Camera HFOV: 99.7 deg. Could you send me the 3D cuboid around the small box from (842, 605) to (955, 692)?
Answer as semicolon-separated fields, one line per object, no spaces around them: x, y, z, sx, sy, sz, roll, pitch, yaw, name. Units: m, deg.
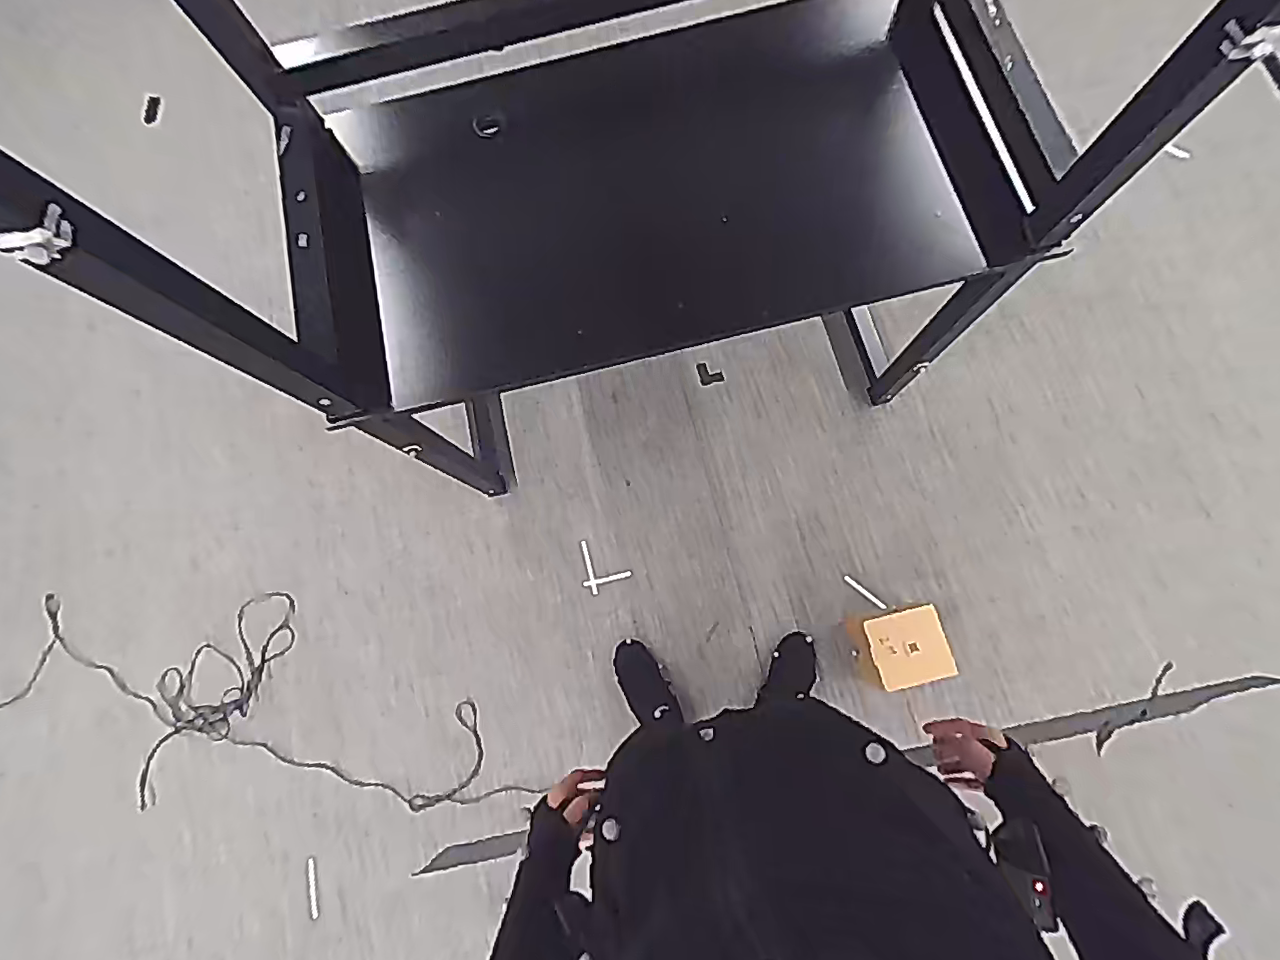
0.630;0.408;1.337;0.179;0.176;0.168;-14;77;2;small box
